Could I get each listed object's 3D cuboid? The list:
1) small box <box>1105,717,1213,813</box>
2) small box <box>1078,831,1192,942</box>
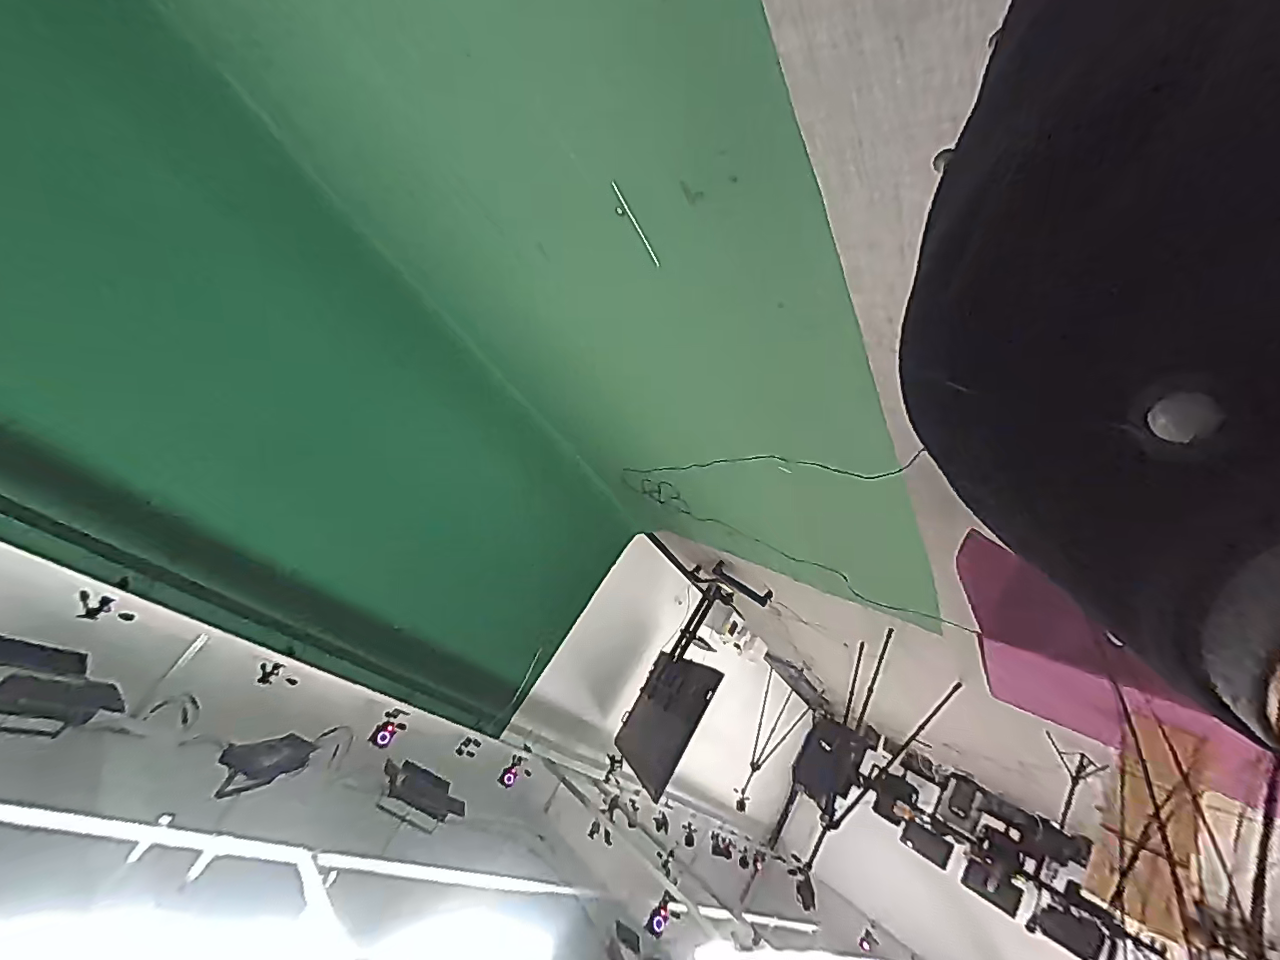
[{"bbox_3d":[1.446,0.787,1.512,0.179,0.176,0.168,18,157,42],"label":"small box"},{"bbox_3d":[1.273,1.041,1.398,0.179,0.176,0.168,18,157,42],"label":"small box"}]
